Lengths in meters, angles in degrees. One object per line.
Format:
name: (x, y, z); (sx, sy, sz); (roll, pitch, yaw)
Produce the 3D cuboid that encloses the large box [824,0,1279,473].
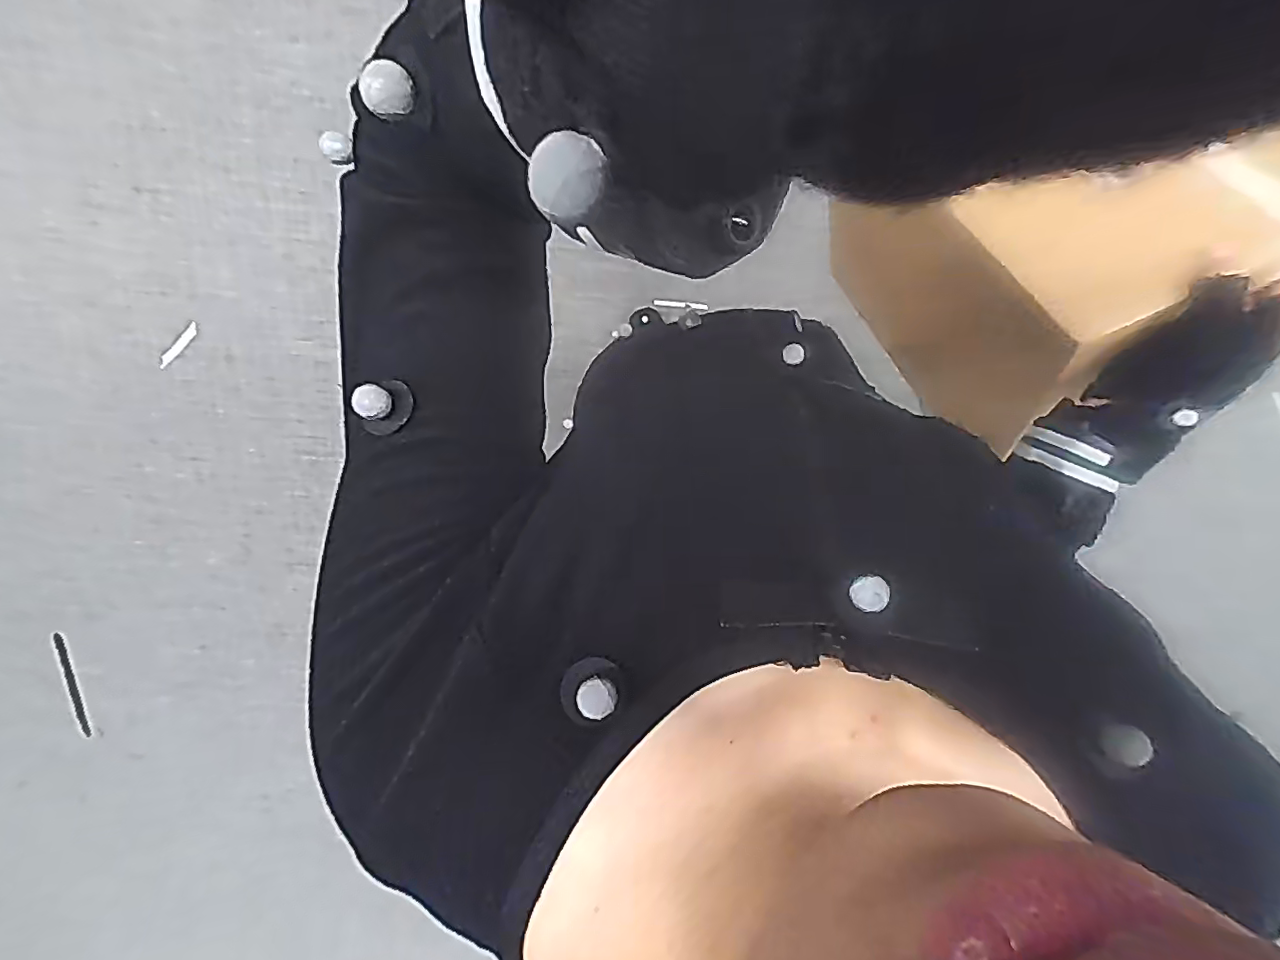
large box: (0.441, -0.284, 0.599); (0.320, 0.320, 0.408); (-26, 63, 10)
